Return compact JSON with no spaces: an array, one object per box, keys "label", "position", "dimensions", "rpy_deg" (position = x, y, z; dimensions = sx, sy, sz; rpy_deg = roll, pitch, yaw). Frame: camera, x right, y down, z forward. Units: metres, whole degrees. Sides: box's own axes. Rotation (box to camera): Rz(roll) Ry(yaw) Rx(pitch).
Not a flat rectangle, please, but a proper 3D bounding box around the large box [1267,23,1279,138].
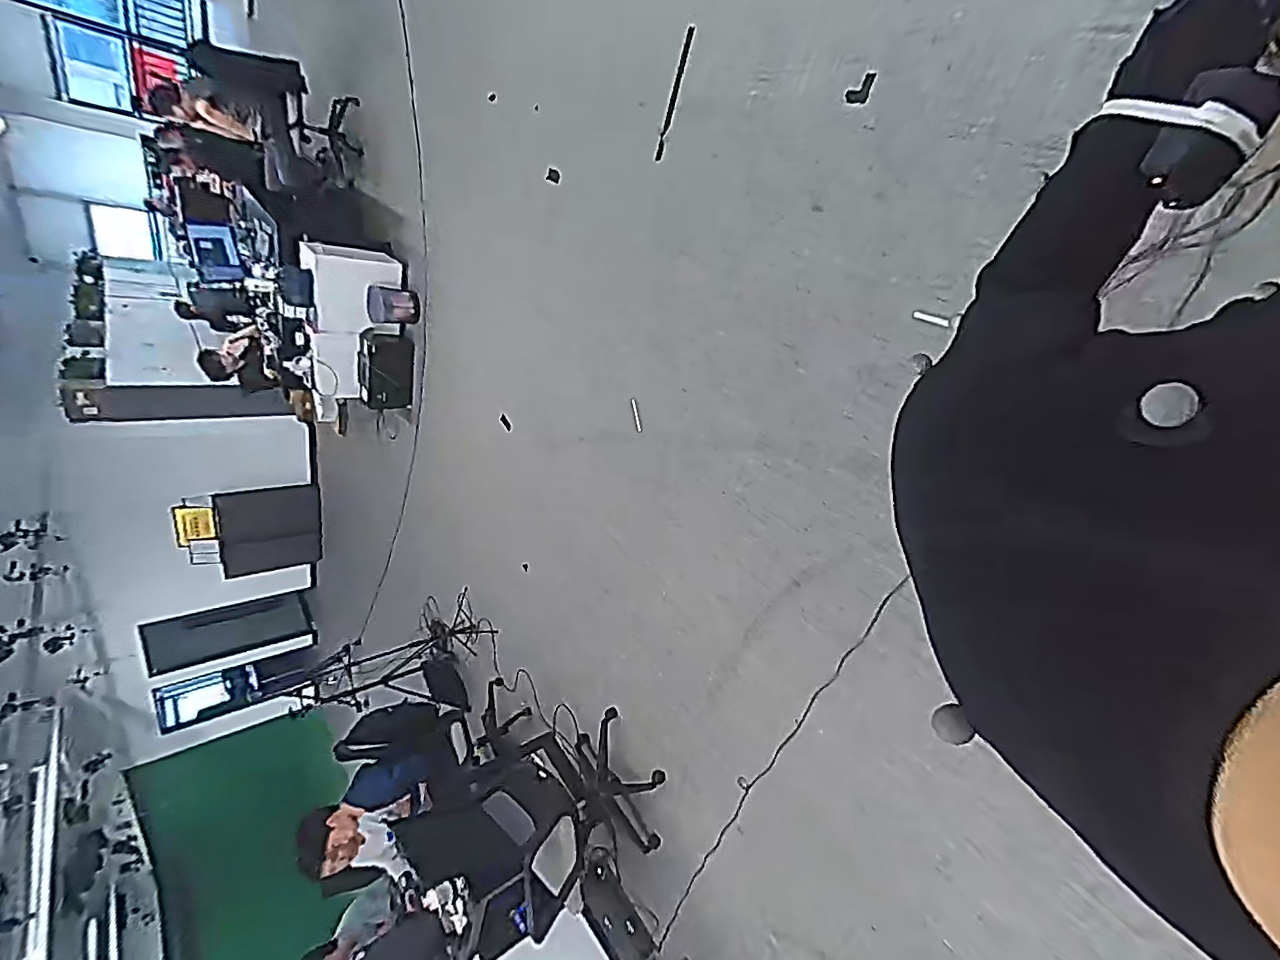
[{"label":"large box","position":[0.659,-0.345,0.246],"dimensions":[0.408,0.320,0.320],"rpy_deg":[37,129,38]}]
